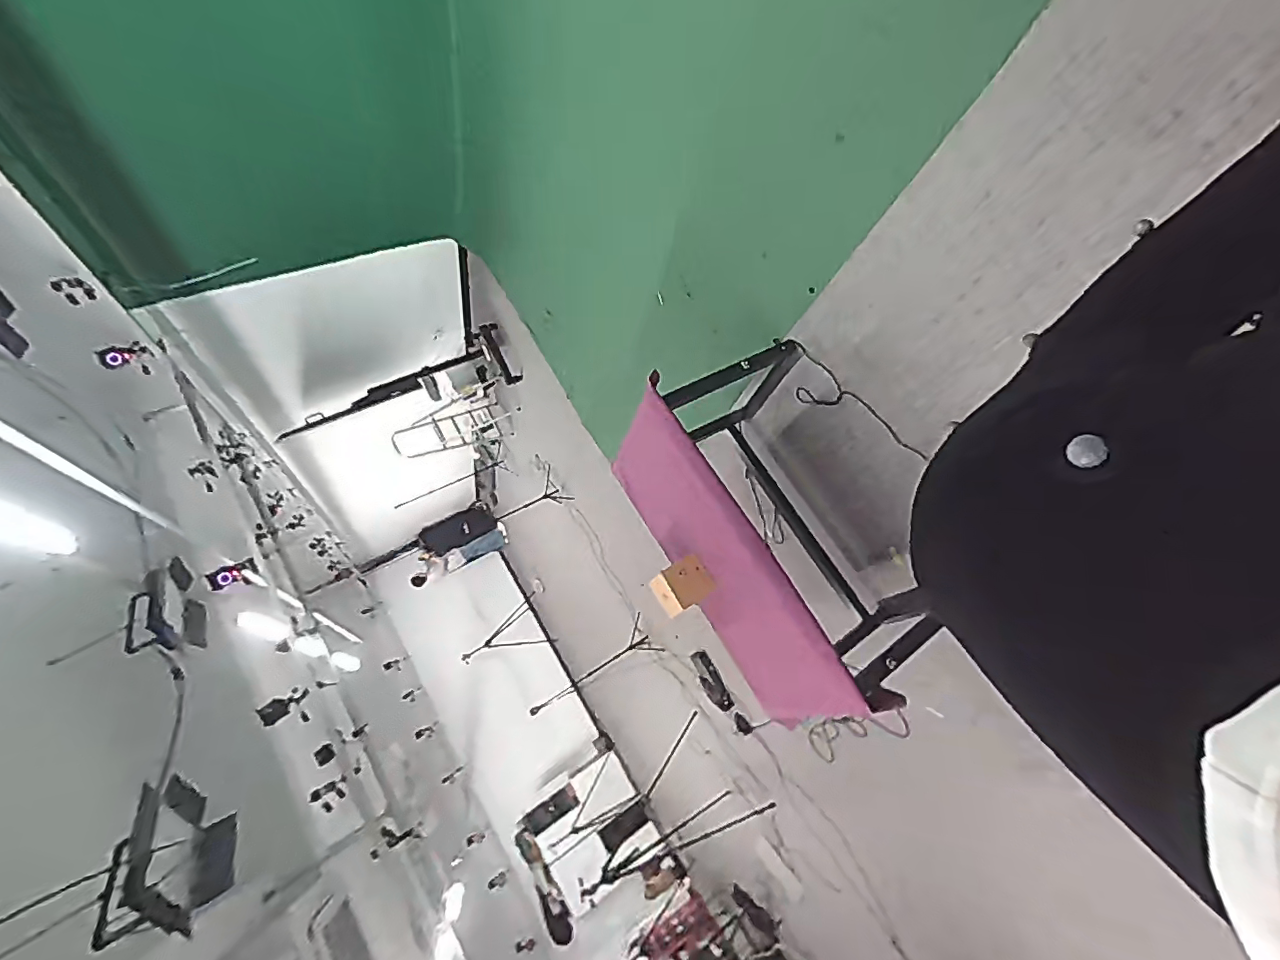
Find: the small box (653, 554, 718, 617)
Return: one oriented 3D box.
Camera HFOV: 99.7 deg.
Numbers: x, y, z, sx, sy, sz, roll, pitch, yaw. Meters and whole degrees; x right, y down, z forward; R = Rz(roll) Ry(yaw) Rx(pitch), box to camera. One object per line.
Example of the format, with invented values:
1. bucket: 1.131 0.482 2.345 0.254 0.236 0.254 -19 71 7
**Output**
1. small box: 0.181 0.409 2.104 0.168 0.176 0.179 58 156 14
